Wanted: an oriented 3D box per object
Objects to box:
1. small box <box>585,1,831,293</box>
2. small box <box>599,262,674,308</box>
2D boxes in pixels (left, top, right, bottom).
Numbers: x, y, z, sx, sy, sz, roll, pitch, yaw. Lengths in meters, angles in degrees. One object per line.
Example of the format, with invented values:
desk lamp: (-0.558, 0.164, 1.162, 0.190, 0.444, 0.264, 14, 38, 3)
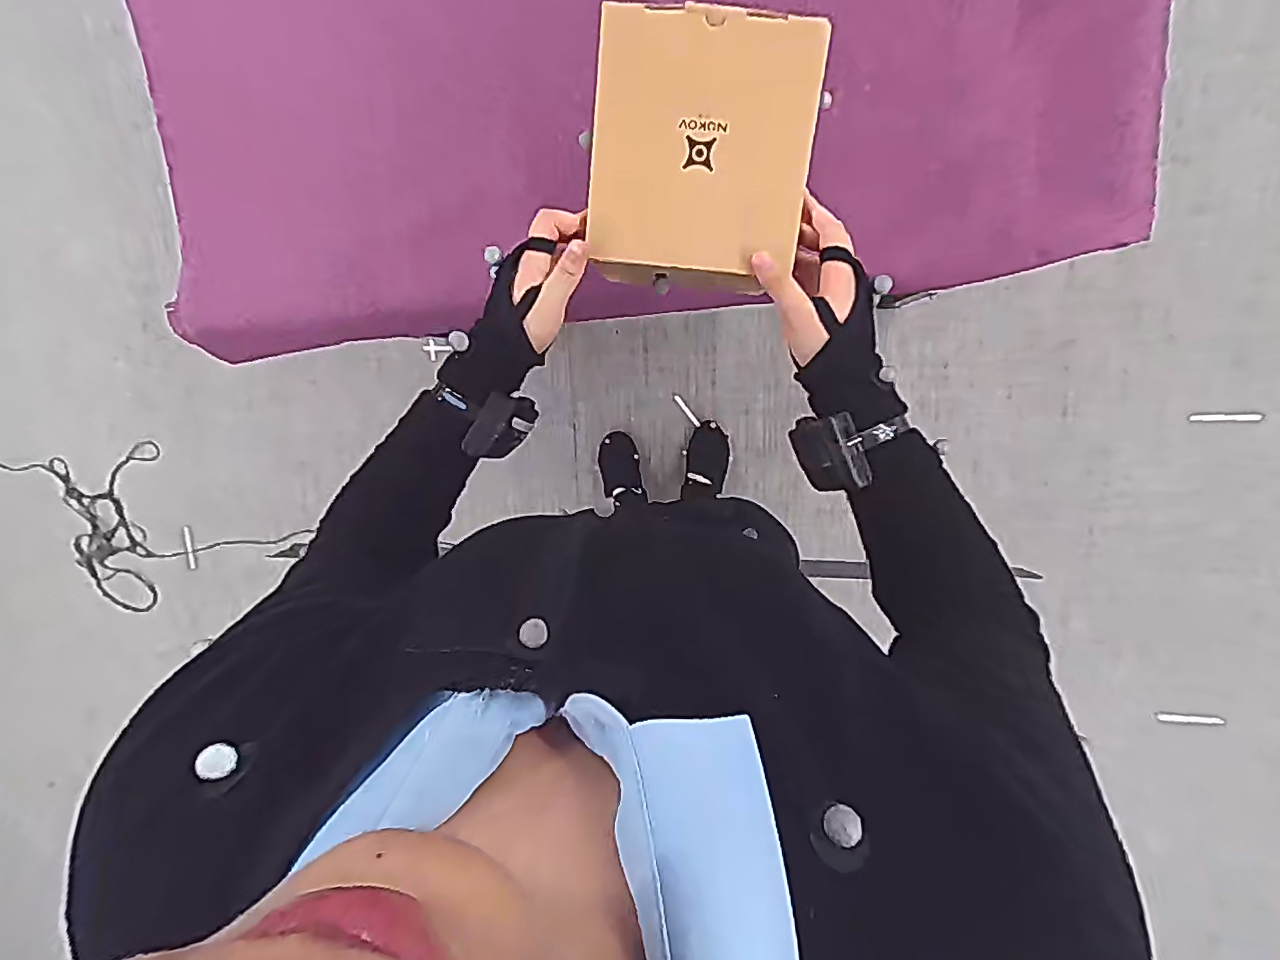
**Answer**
small box: (0.052, -0.270, 0.483, 0.168, 0.176, 0.179, 7, 103, 2)
small box: (-0.004, -0.515, 1.312, 0.168, 0.176, 0.179, 0, 100, 6)
